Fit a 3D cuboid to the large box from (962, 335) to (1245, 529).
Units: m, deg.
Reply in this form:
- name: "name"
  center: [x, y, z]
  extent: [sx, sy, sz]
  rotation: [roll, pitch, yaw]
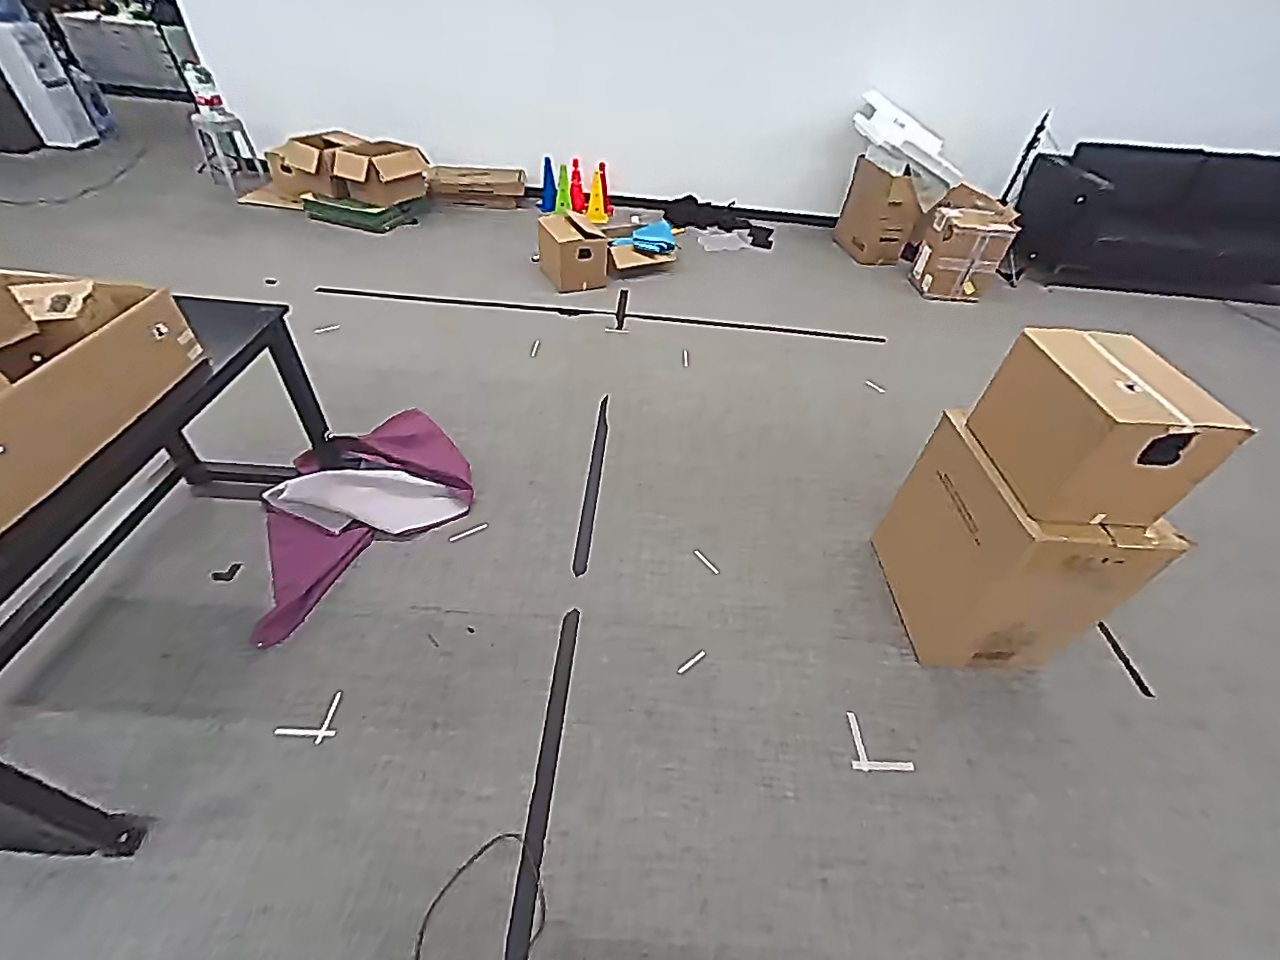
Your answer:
- name: "large box"
  center: [1.128, -0.127, 1.388]
  extent: [0.320, 0.320, 0.408]
  rotation: [2, 44, -3]
